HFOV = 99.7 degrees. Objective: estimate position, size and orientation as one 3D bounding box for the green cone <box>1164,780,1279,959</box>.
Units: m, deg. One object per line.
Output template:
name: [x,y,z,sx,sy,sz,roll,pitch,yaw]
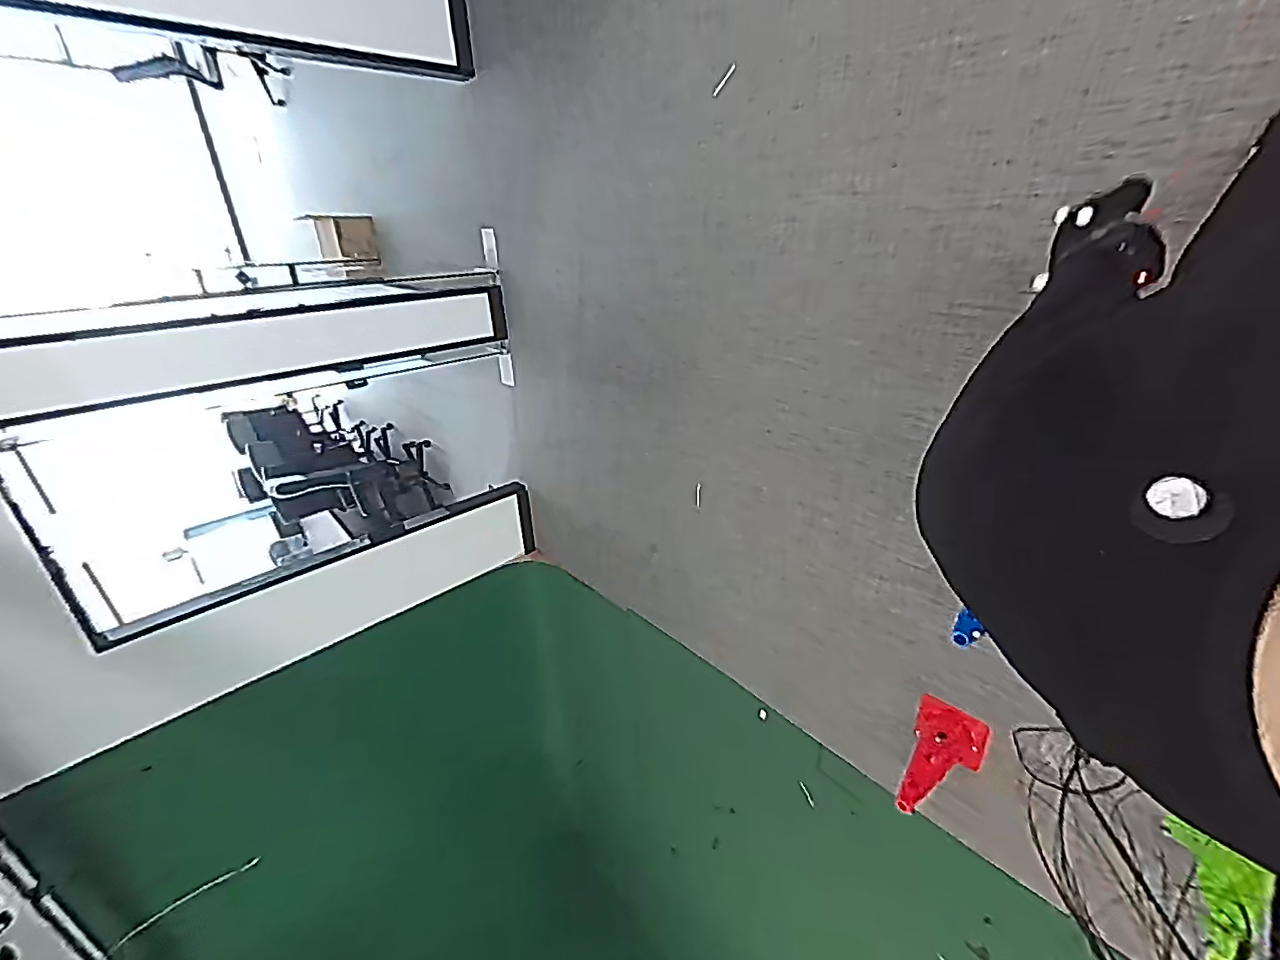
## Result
green cone: [1.269,0.877,1.161,0.200,0.368,0.202,27,127,40]
